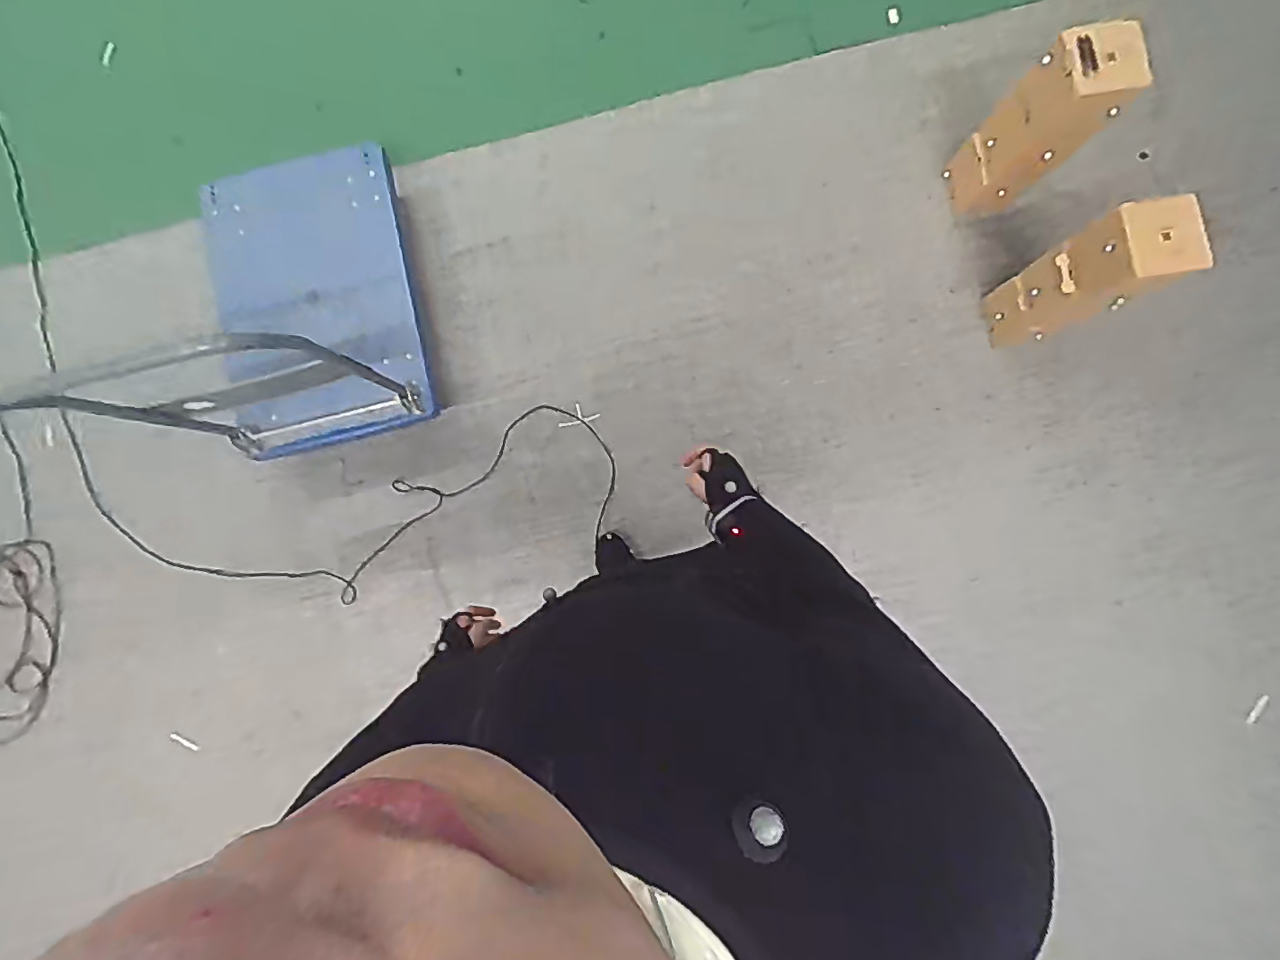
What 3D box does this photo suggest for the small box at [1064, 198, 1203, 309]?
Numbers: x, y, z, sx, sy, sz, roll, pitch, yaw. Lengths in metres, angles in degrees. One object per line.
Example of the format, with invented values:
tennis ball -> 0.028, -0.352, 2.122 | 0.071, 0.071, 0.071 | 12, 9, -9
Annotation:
small box -> 1.146, -0.526, 1.273 | 0.168, 0.176, 0.179 | -7, 85, 1

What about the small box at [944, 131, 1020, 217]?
small box -> 1.054, -0.927, 1.641 | 0.179, 0.176, 0.168 | -8, 85, 0

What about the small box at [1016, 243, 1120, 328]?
small box -> 1.149, -0.518, 1.436 | 0.179, 0.176, 0.168 | -6, 84, 1

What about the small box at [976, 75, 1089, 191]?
small box -> 1.069, -0.947, 1.487 | 0.168, 0.176, 0.179 | 23, 85, 5

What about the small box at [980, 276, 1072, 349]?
small box -> 1.143, -0.501, 1.600 | 0.179, 0.176, 0.168 | -11, 85, 1
